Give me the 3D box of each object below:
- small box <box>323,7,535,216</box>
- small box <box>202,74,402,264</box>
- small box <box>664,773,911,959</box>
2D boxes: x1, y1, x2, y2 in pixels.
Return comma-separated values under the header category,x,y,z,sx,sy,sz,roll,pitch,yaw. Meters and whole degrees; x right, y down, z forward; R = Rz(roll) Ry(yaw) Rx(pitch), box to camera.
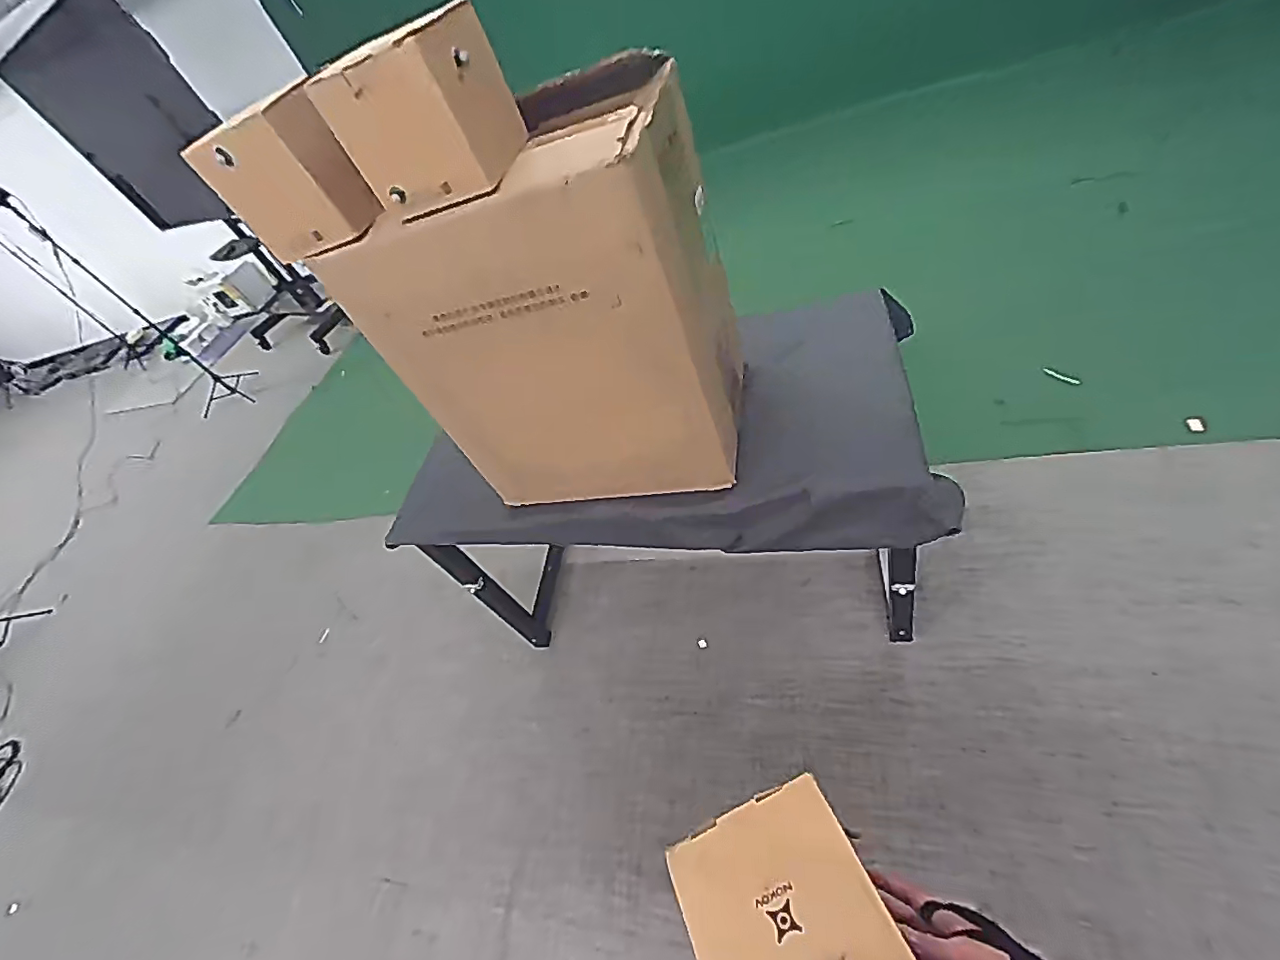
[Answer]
category,x,y,z,sx,sy,sz,roll,pitch,yaw
small box,-0.263,-0.475,0.720,0.168,0.176,0.179,-5,49,21
small box,-0.470,-0.452,0.799,0.168,0.176,0.179,-5,49,25
small box,0.147,0.426,0.514,0.168,0.176,0.179,-29,39,0
